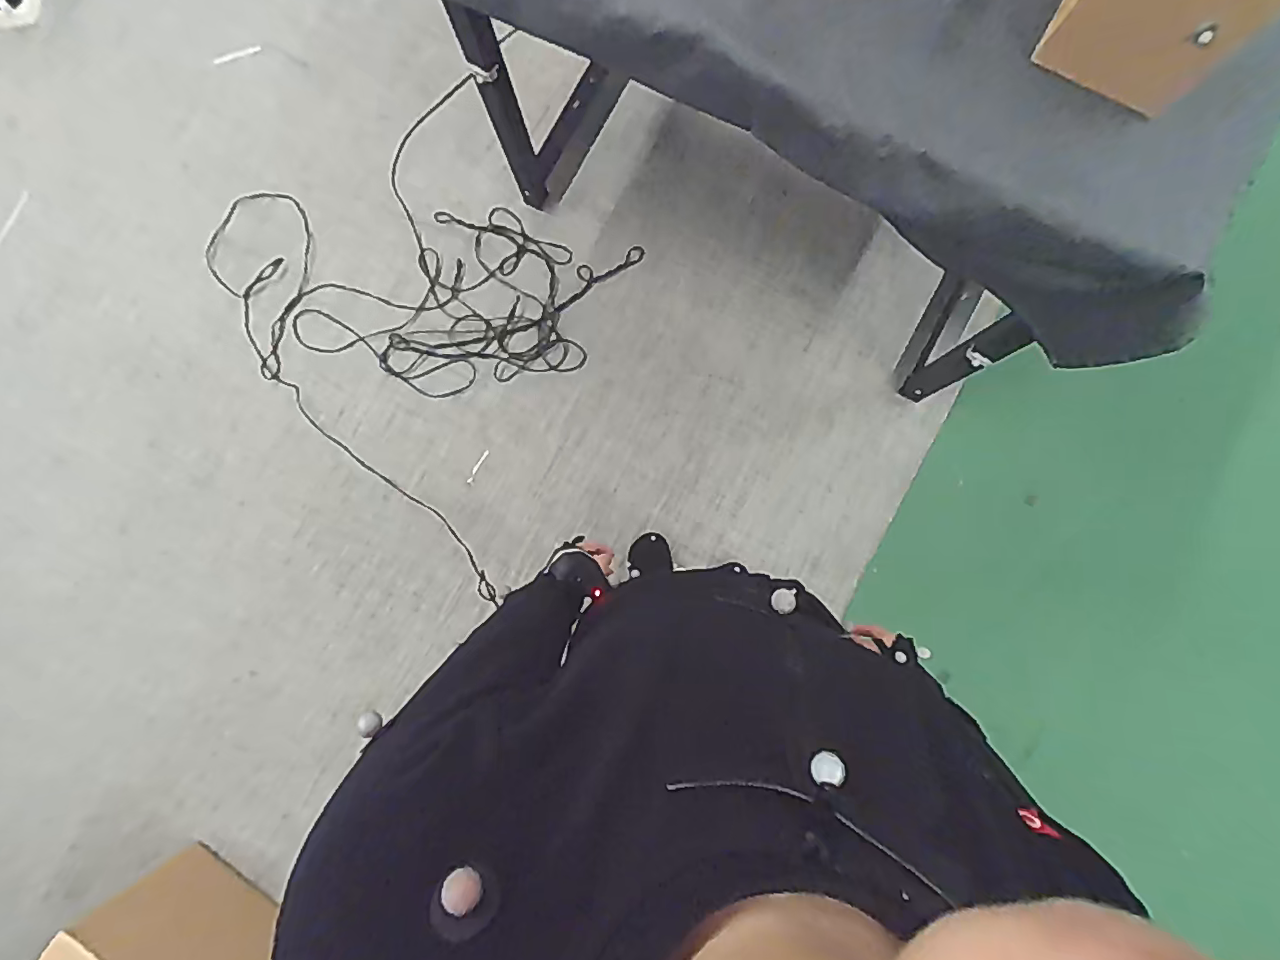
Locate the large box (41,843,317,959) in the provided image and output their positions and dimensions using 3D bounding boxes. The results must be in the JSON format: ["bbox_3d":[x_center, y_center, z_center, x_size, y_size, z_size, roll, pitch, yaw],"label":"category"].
[{"bbox_3d":[-1.028,1.114,1.171,0.408,0.320,0.320,33,86,6],"label":"large box"}]
